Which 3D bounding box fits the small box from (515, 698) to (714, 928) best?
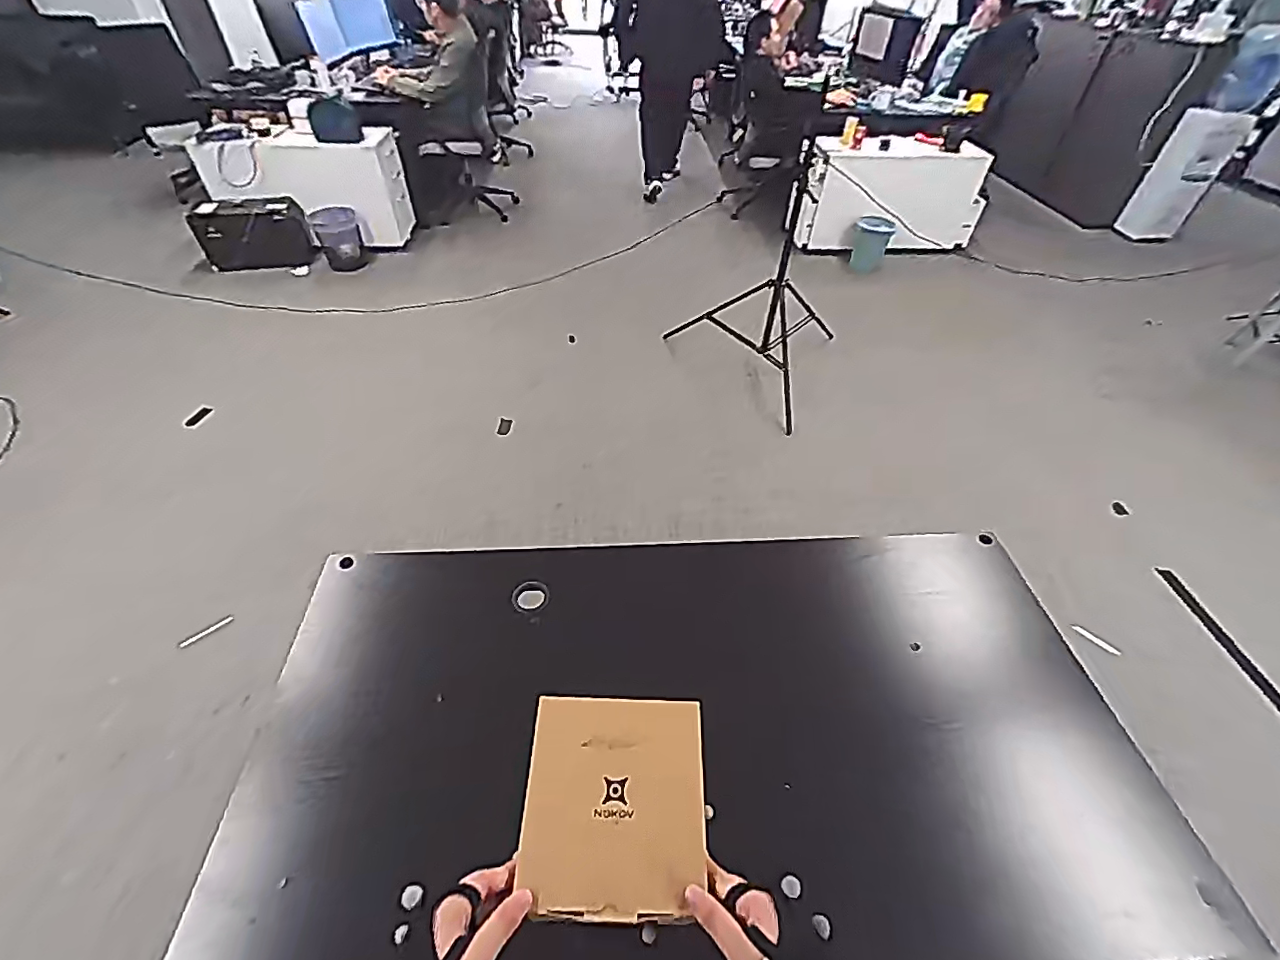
[{"bbox_3d":[-0.021,0.340,0.550,0.168,0.176,0.179,2,49,-2],"label":"small box"}]
